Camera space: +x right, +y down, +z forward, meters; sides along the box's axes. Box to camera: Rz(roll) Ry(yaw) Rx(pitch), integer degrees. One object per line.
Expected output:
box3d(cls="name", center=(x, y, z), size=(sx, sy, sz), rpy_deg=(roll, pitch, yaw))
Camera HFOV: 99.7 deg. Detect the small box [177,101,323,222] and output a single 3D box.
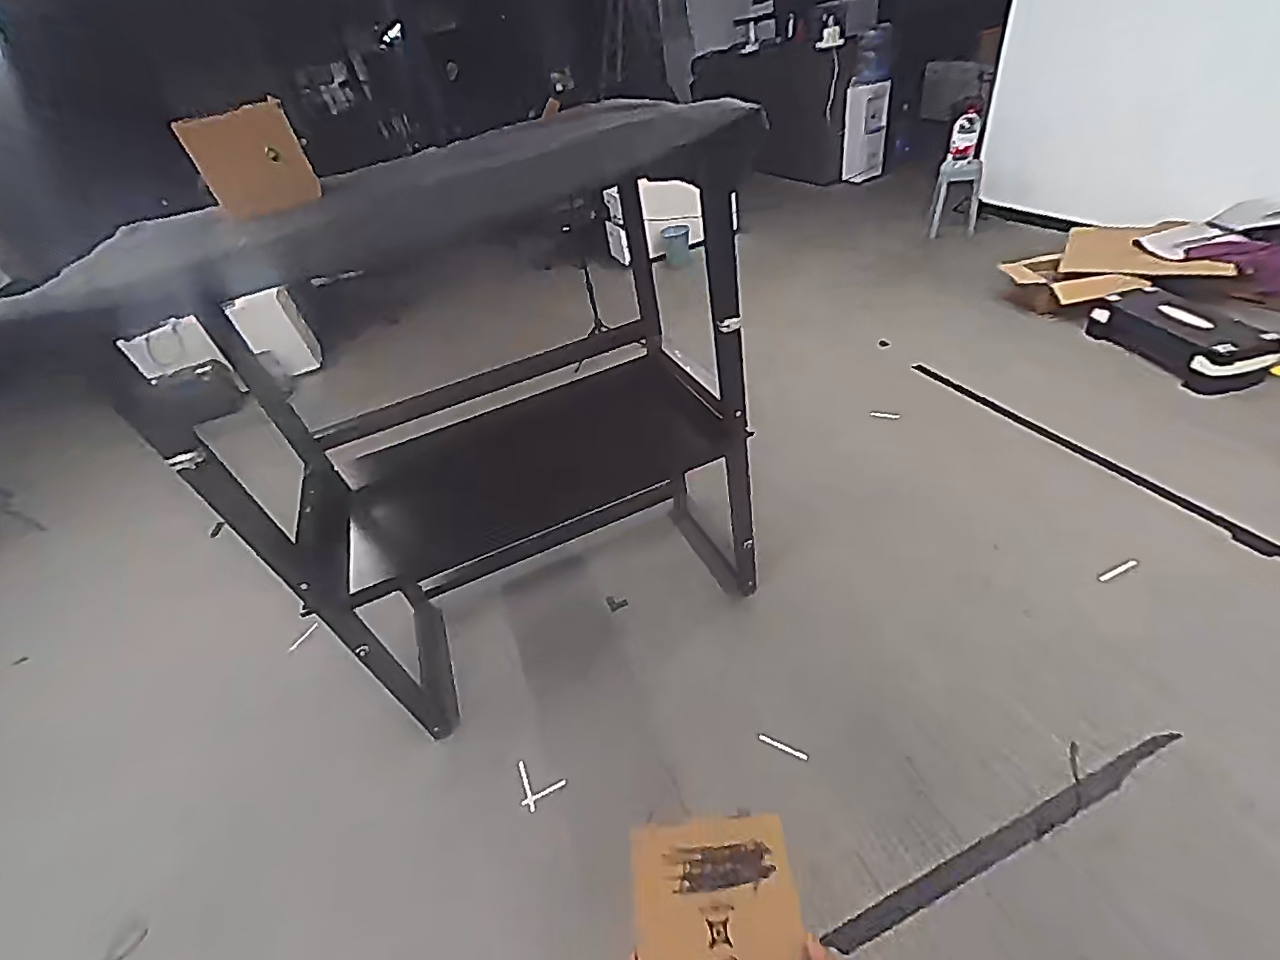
box3d(cls="small box", center=(-0.763, -0.638, 1.082), size=(0.179, 0.176, 0.168), rpy_deg=(-24, 41, -14))
